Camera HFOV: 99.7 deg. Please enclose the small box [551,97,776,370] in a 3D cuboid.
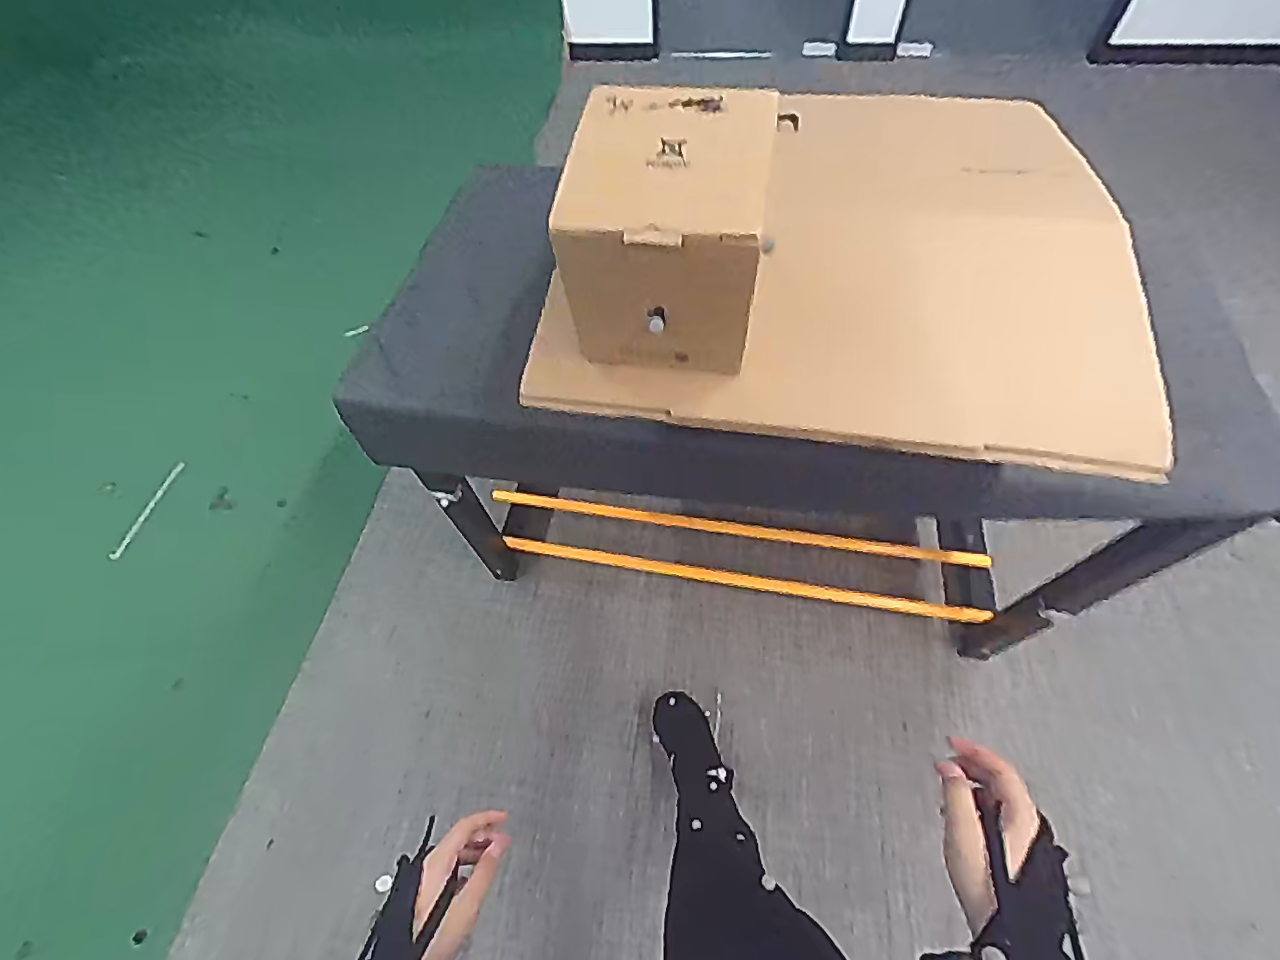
[{"bbox_3d":[0.030,-0.225,0.517,0.168,0.176,0.179,7,67,8],"label":"small box"}]
